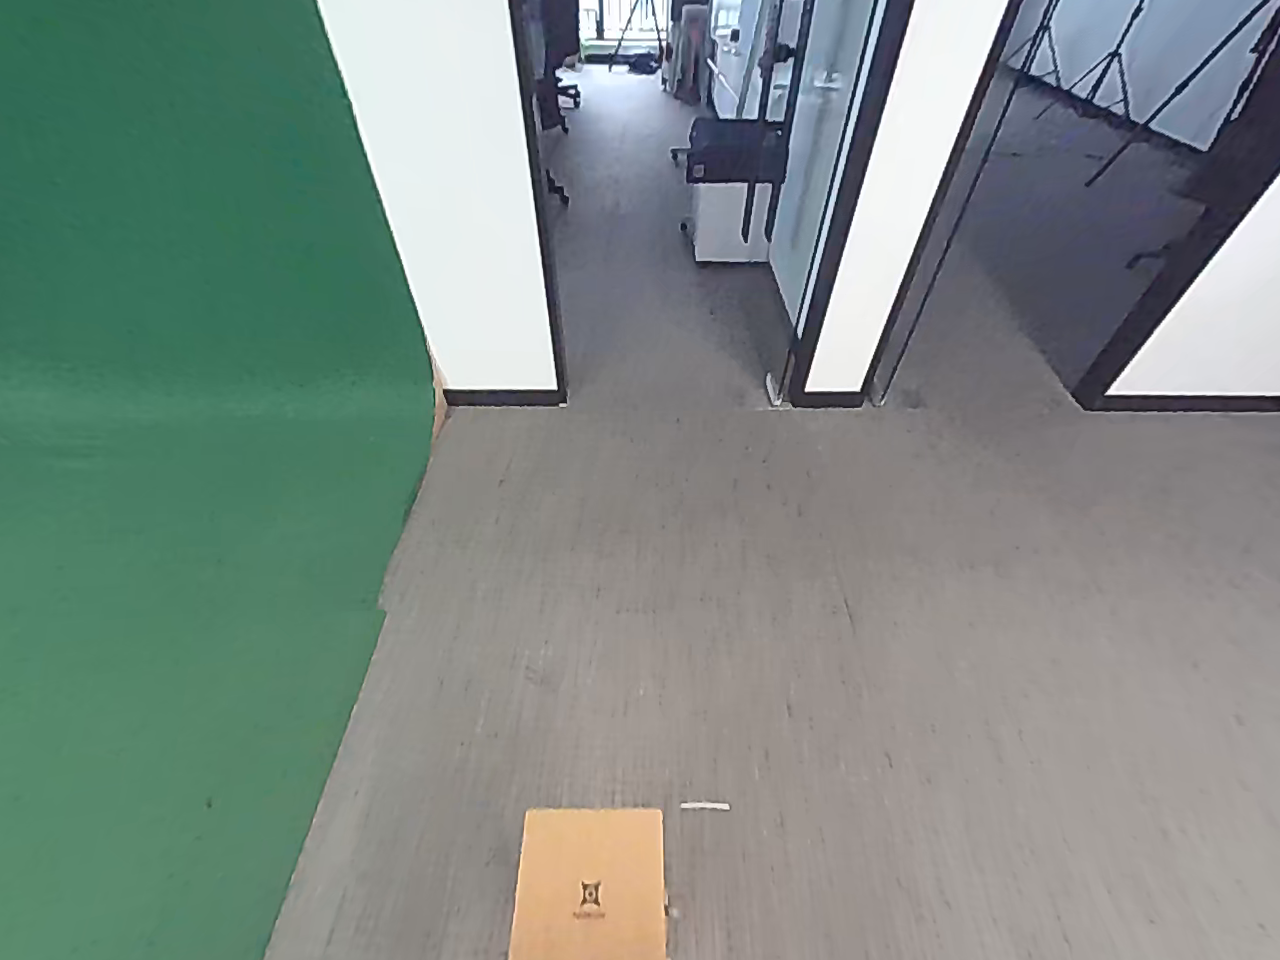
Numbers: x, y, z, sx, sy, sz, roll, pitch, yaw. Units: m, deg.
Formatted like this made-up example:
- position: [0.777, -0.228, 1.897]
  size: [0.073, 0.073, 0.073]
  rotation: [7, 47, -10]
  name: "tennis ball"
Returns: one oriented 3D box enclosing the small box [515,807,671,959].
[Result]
- position: [-0.050, 0.515, 0.656]
  size: [0.168, 0.176, 0.179]
  rotation: [0, 48, 0]
  name: "small box"
